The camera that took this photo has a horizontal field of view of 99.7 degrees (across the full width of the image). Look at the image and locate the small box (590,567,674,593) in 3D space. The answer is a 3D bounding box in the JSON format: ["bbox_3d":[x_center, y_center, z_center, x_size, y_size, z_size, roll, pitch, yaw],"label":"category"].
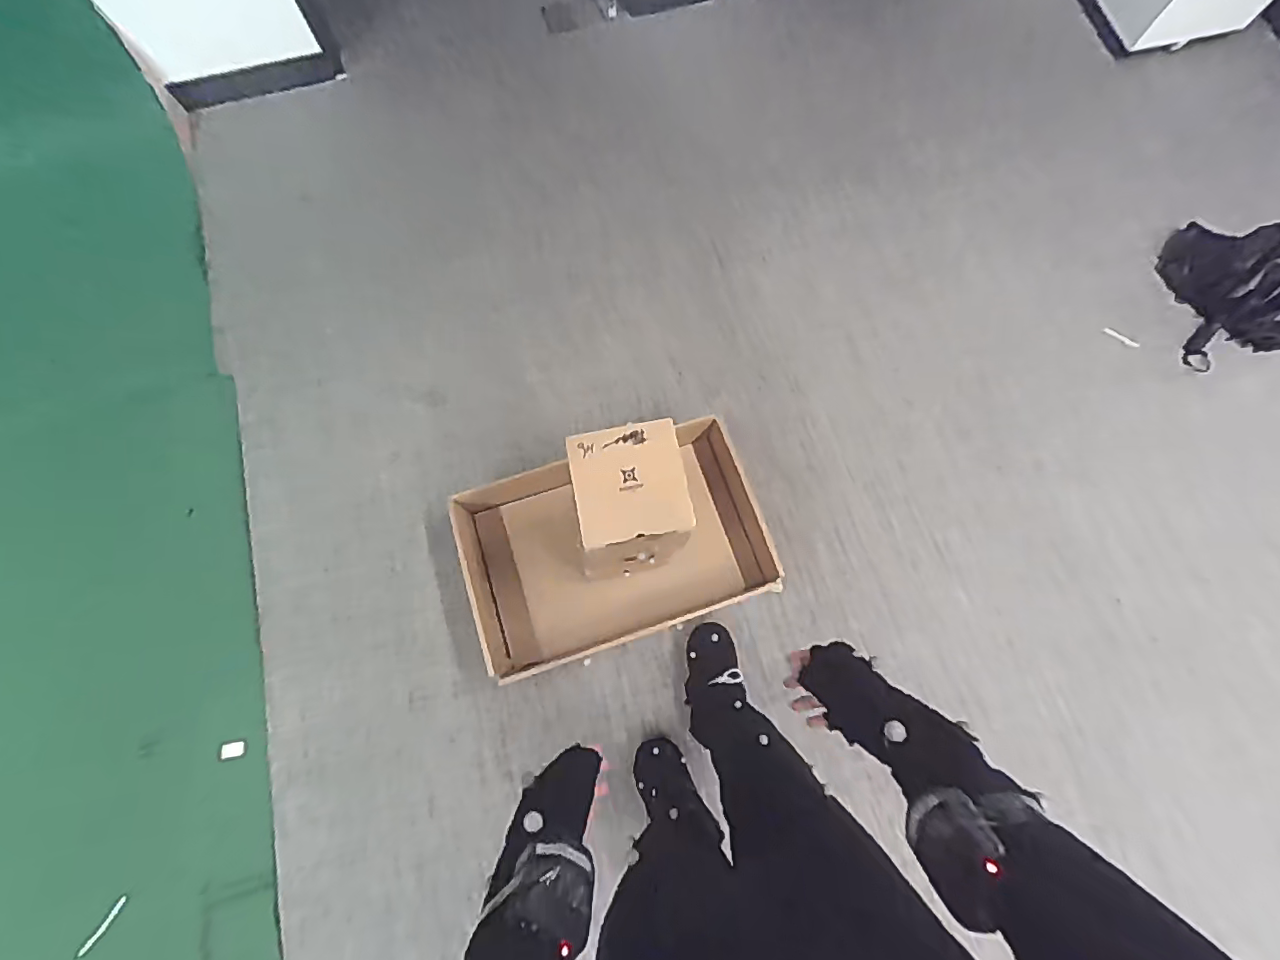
[{"bbox_3d":[-0.027,0.147,1.196,0.179,0.176,0.168,-13,73,-1],"label":"small box"}]

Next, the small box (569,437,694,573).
[{"bbox_3d":[-0.009,0.051,0.890,0.168,0.176,0.179,-12,73,0],"label":"small box"}]

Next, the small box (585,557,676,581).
[{"bbox_3d":[-0.023,0.090,1.028,0.168,0.176,0.179,-10,72,-3],"label":"small box"}]
